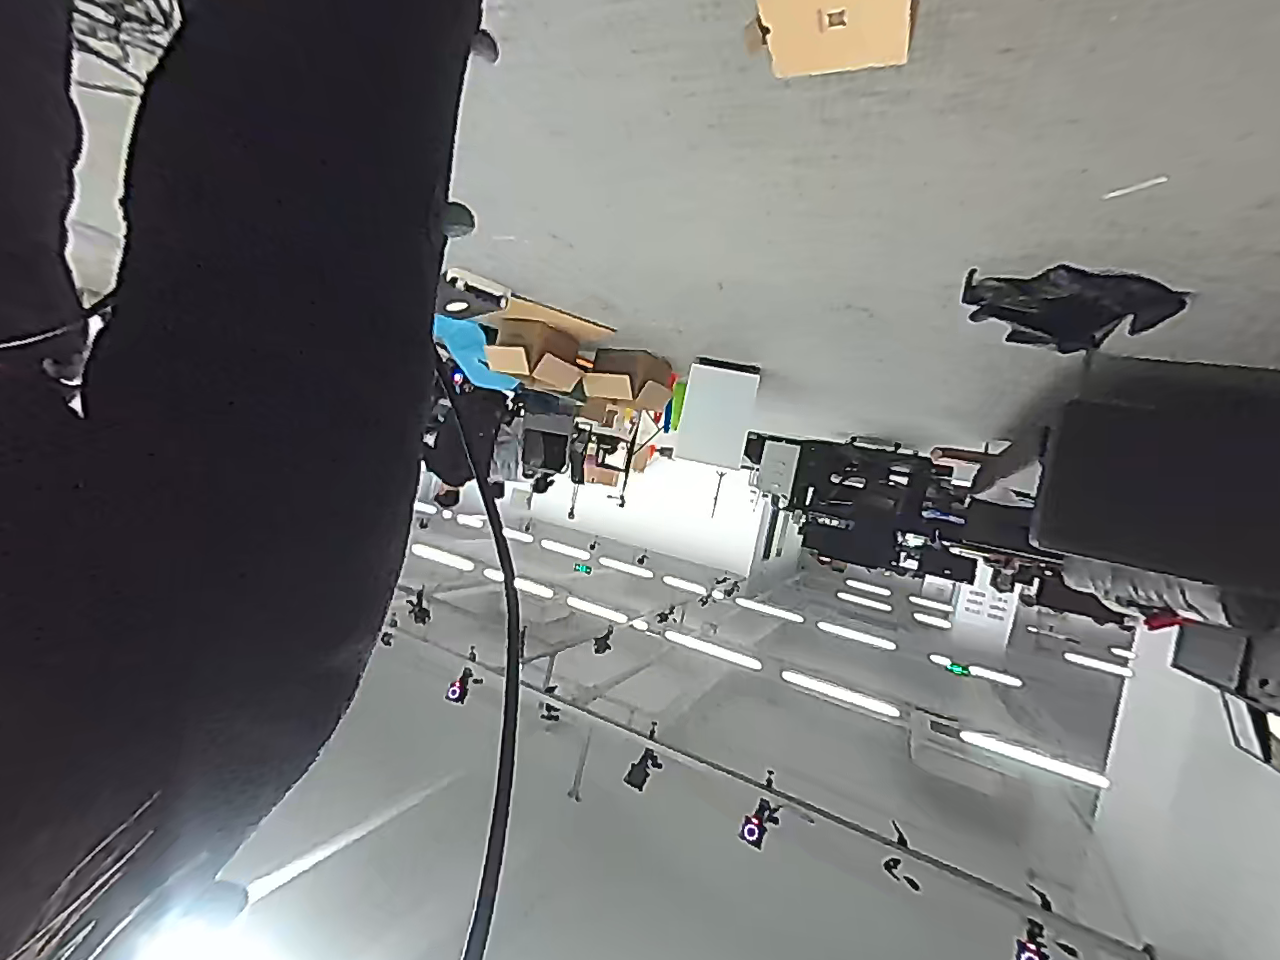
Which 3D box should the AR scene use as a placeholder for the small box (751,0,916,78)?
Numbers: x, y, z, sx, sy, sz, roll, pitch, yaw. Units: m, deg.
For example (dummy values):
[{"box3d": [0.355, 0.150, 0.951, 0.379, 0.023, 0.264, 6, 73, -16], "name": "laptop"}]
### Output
[{"box3d": [0.243, -0.636, 0.650, 0.179, 0.176, 0.168, 12, -179, 26], "name": "small box"}]
